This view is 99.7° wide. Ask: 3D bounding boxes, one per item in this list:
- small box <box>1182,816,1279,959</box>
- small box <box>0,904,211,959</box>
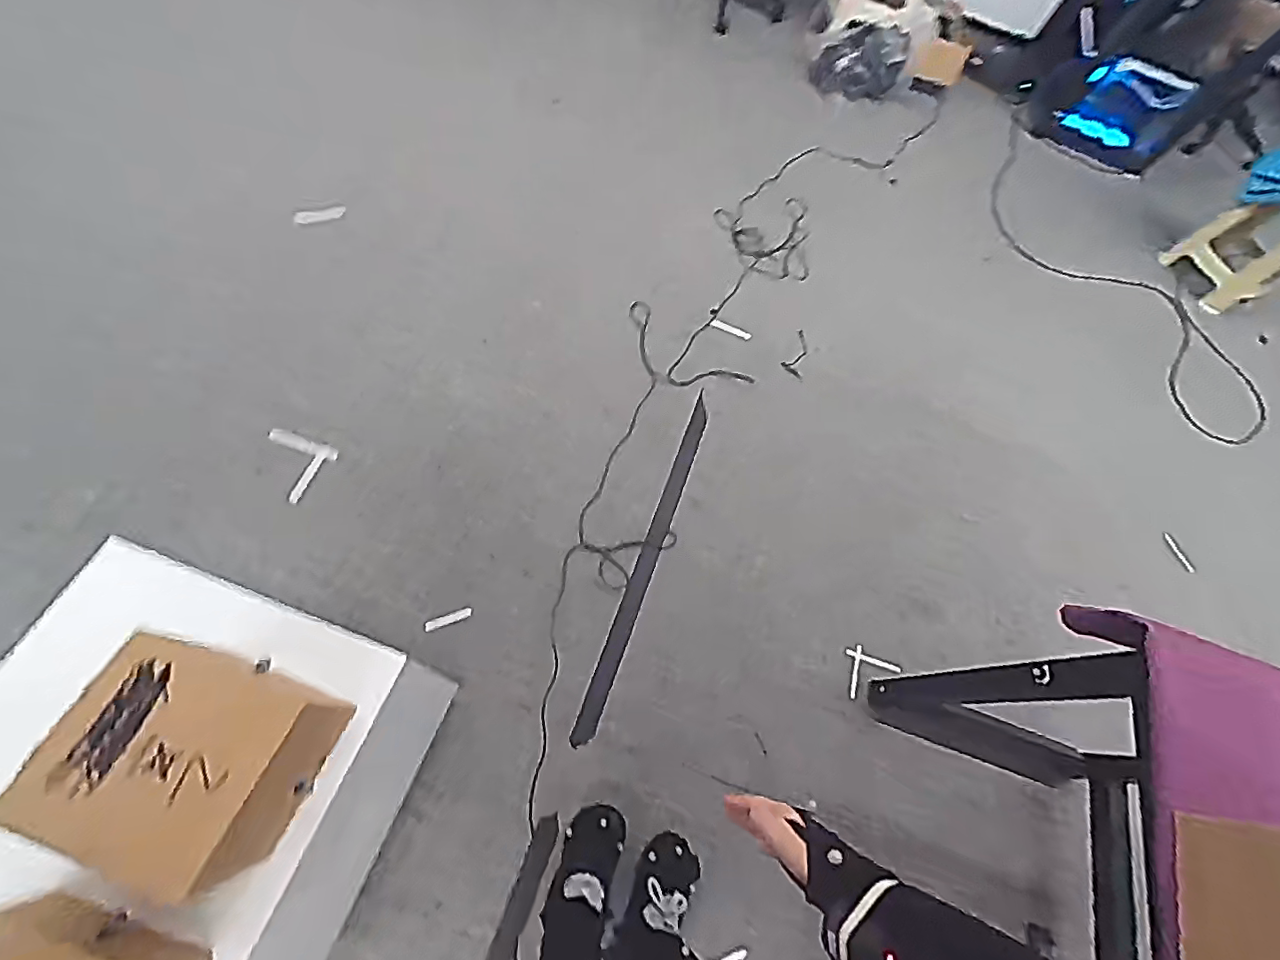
[{"bbox_3d":[0.678,0.456,0.515,0.168,0.176,0.179,25,64,0],"label":"small box"},{"bbox_3d":[-0.508,0.474,0.427,0.179,0.176,0.168,22,64,1],"label":"small box"}]
